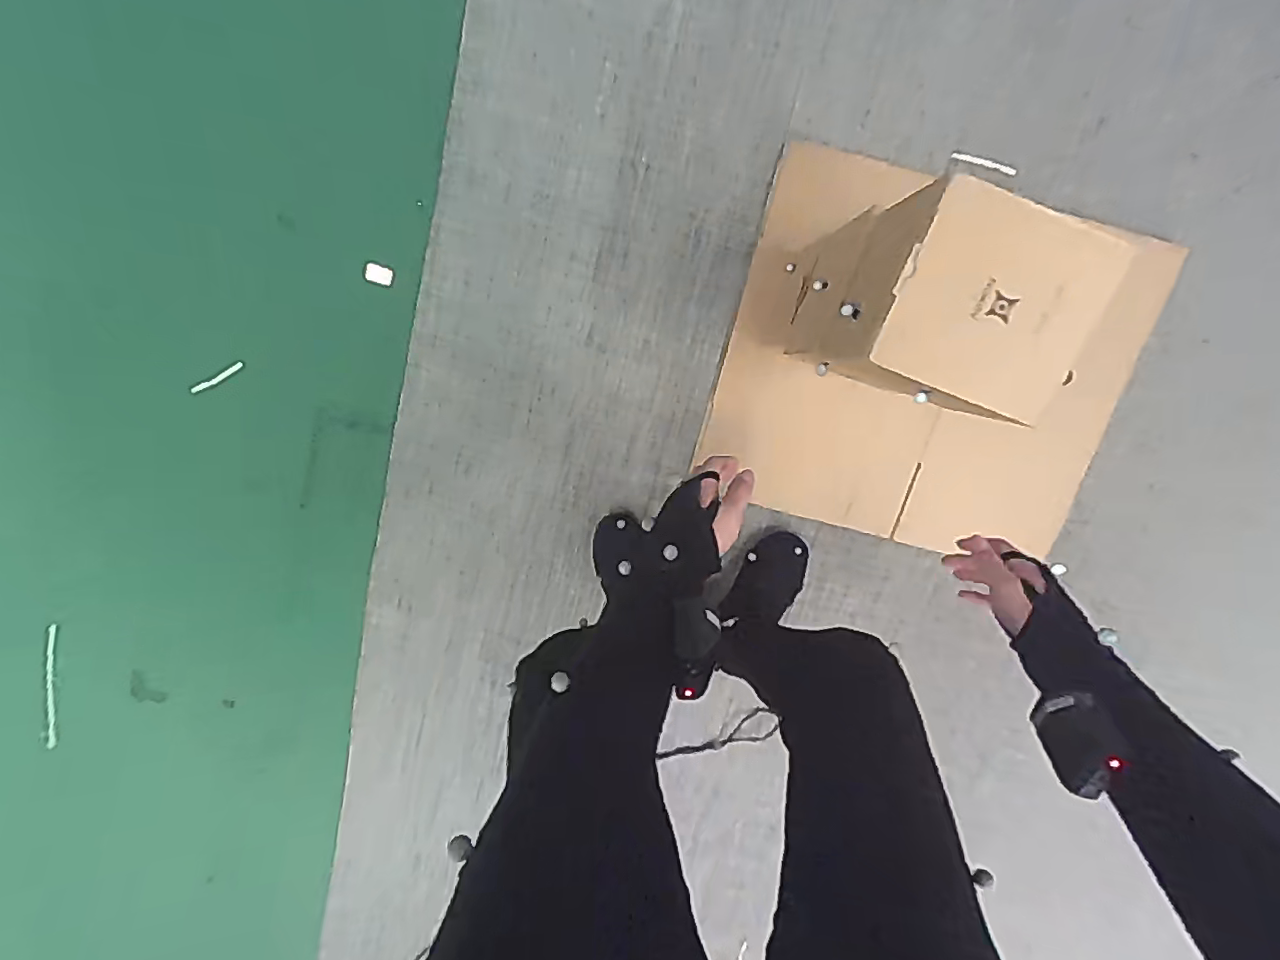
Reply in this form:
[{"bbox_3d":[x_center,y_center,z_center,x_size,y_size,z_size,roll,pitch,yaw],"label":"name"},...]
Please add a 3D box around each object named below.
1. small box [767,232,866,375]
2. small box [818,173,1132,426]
[{"bbox_3d":[0.320,-0.266,0.856,0.179,0.176,0.168,19,104,-3],"label":"small box"},{"bbox_3d":[0.306,-0.170,0.544,0.179,0.176,0.168,21,105,-3],"label":"small box"}]
